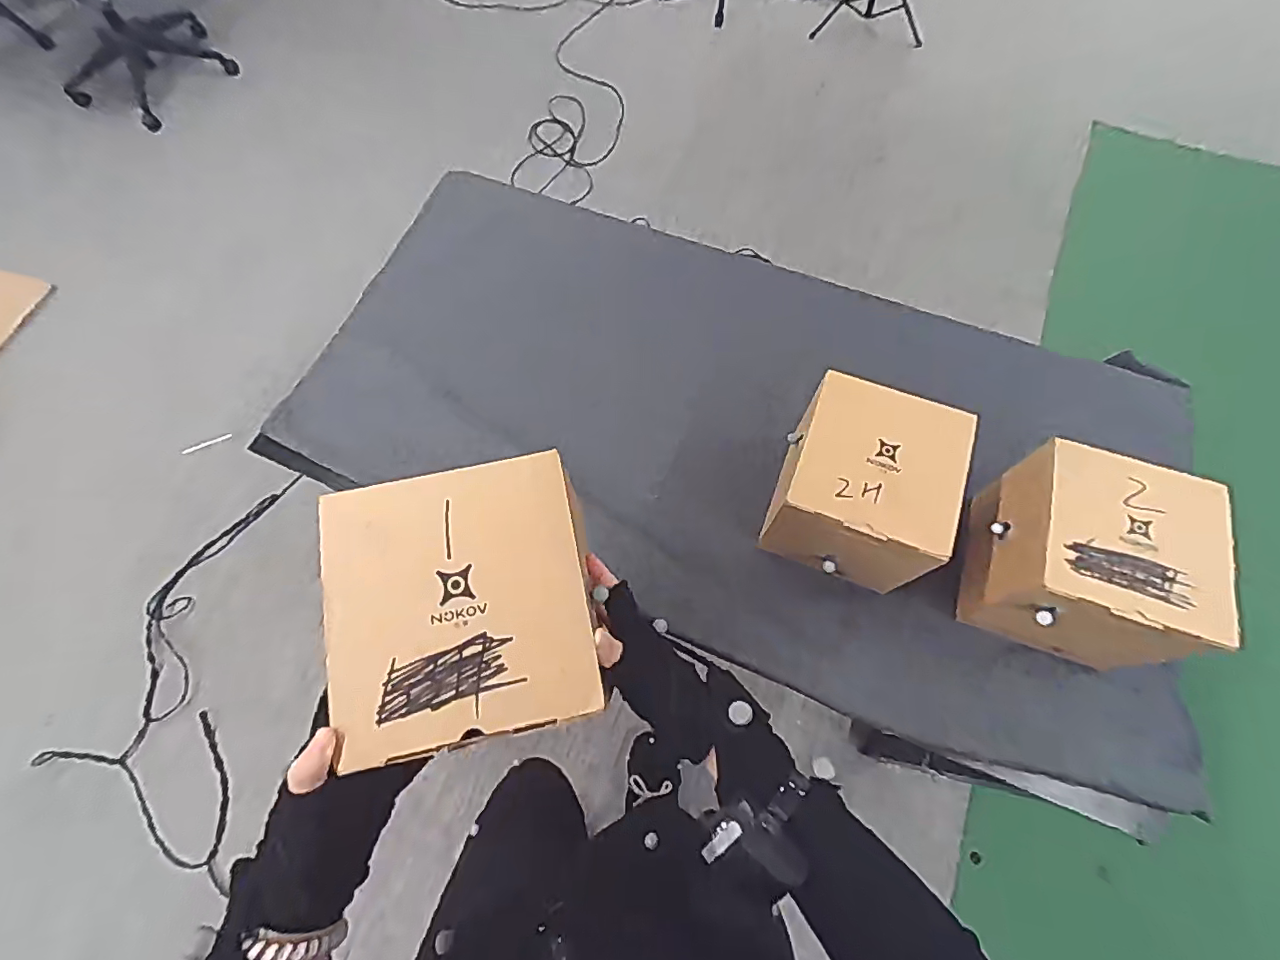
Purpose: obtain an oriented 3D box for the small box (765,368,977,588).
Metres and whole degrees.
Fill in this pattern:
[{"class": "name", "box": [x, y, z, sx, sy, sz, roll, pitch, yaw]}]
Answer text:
[{"class": "small box", "box": [0.258, 0.005, 0.638, 0.168, 0.176, 0.179, 20, 68, 10]}]
